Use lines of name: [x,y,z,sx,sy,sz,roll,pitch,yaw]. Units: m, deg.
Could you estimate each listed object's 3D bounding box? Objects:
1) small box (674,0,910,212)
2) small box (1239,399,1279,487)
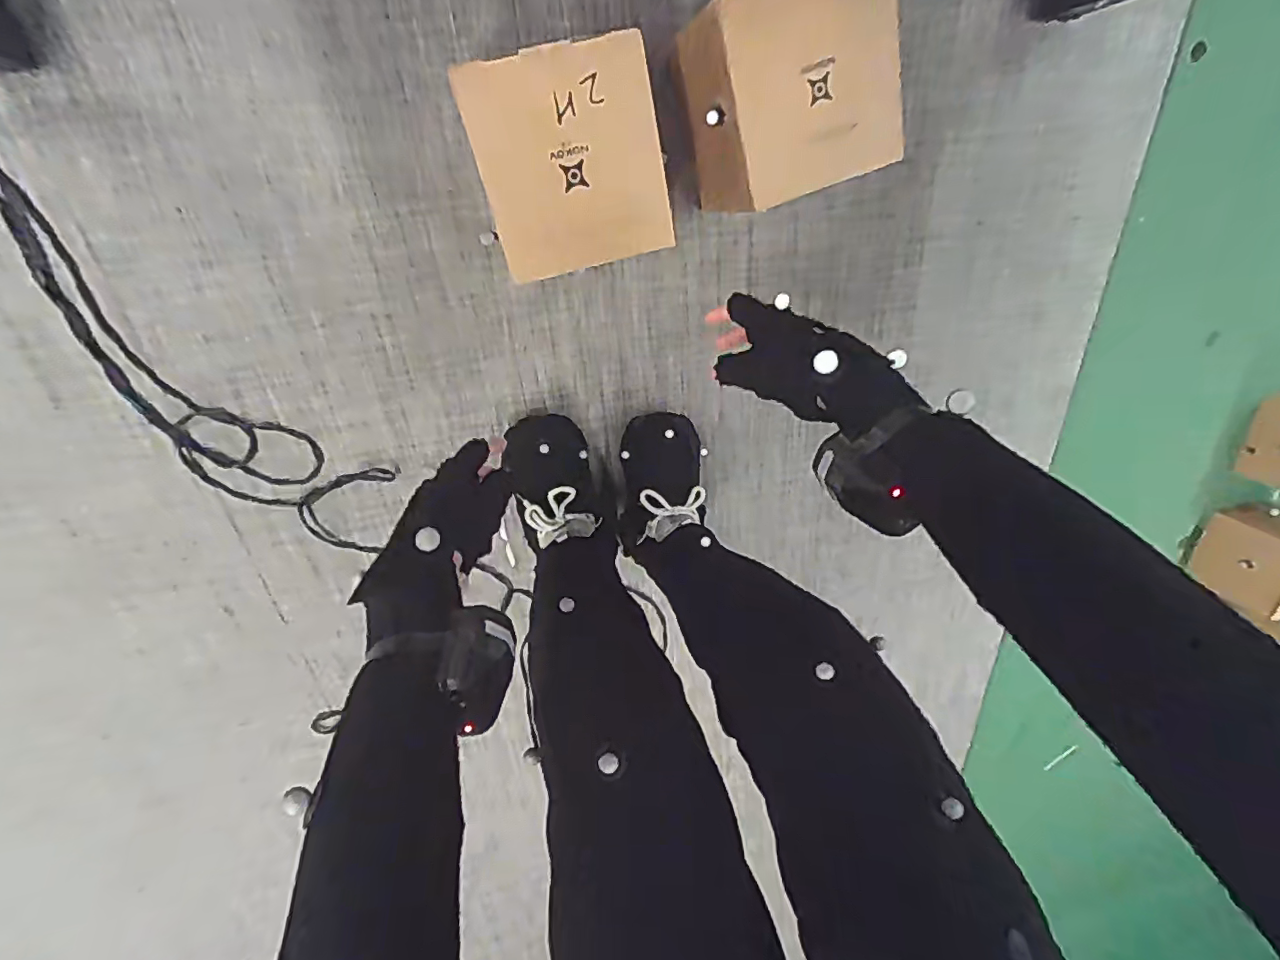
small box: [0.148,-0.393,0.558,0.168,0.176,0.179,-21,119,-4]
small box: [1.328,-0.065,1.030,0.179,0.176,0.168,-11,119,-8]
